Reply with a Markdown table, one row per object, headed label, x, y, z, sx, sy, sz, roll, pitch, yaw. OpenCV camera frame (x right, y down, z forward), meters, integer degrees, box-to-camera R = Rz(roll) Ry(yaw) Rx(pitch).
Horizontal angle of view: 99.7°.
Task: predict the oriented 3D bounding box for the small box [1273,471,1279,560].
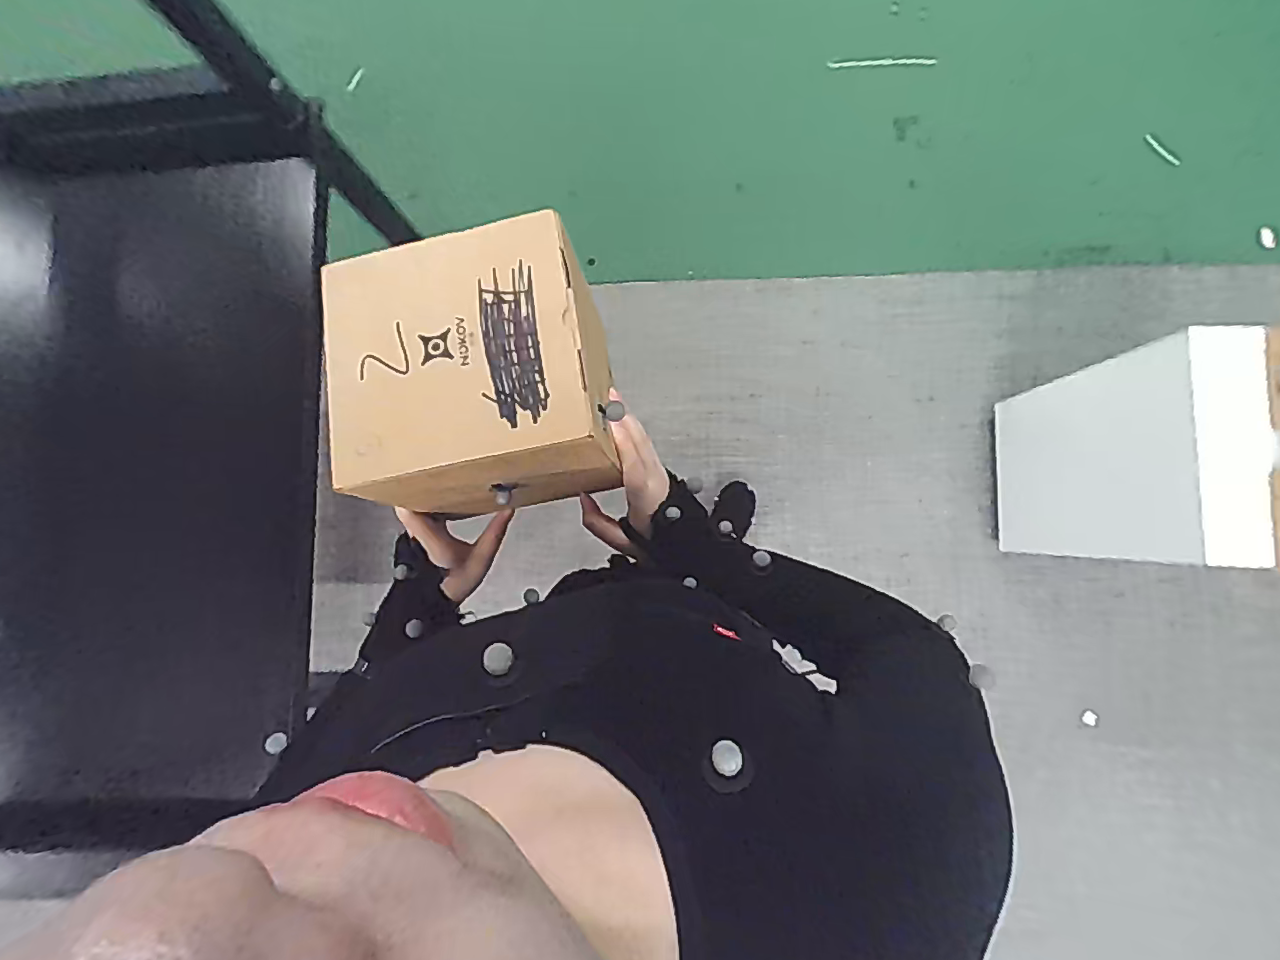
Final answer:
| label | x | y | z | sx | sy | sz | roll | pitch | yaw |
| --- | --- | --- | --- | --- | --- | --- | --- | --- | --- |
| small box | 1.095 | 0.053 | 0.778 | 0.179 | 0.176 | 0.168 | 3 | 84 | 4 |

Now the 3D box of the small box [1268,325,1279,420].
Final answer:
| label | x | y | z | sx | sy | sz | roll | pitch | yaw |
| --- | --- | --- | --- | --- | --- | --- | --- | --- | --- |
| small box | 1.108 | -0.178 | 0.796 | 0.179 | 0.176 | 0.168 | 1 | 86 | 4 |
